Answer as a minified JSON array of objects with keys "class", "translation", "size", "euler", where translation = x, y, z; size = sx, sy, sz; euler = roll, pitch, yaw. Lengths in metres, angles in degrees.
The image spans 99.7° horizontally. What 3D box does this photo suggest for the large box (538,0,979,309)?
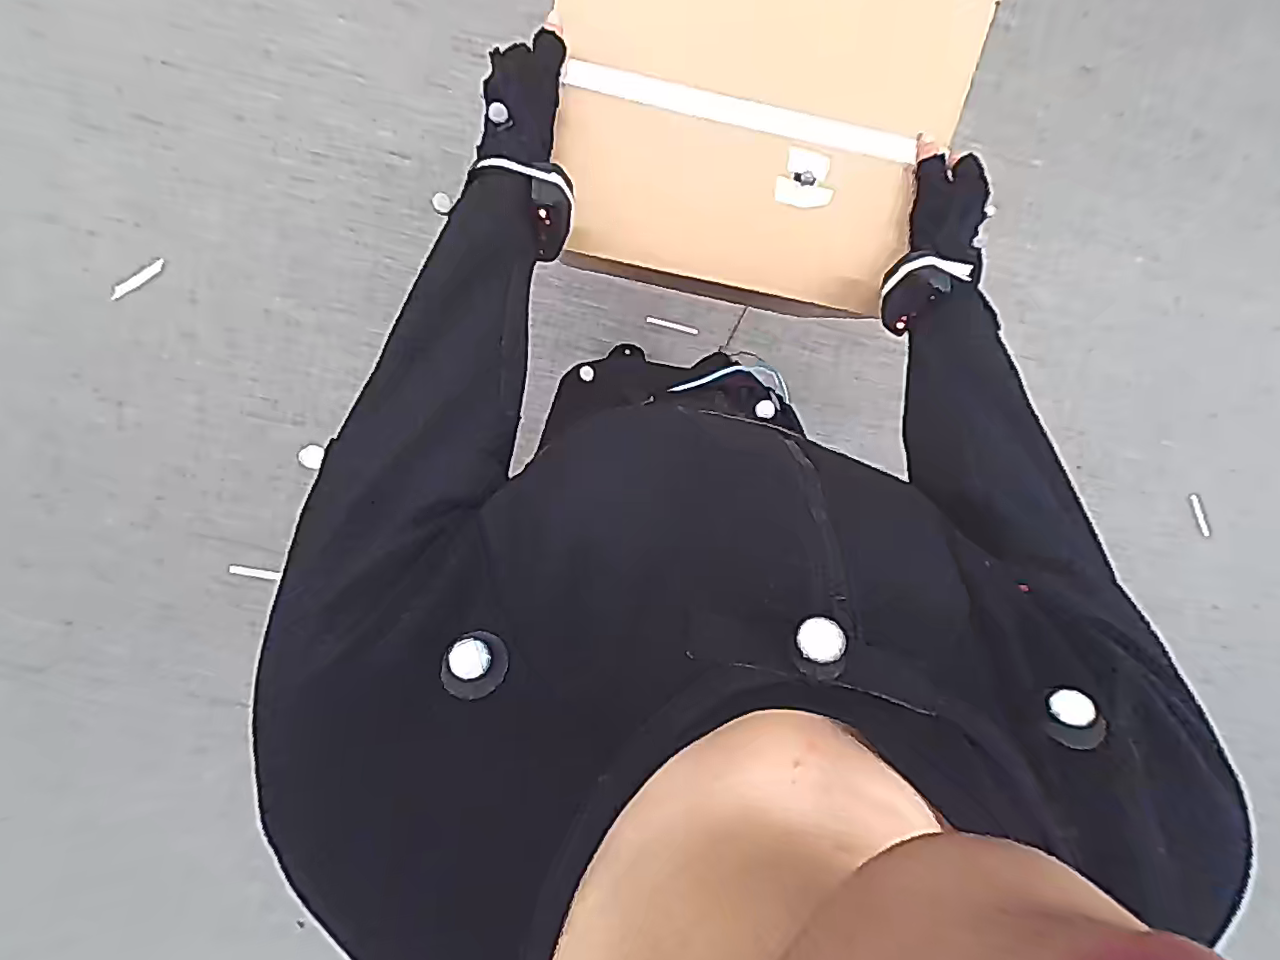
[{"class":"large box","translation":[0.104,-0.412,0.692],"size":[0.408,0.320,0.320],"euler":[10,108,-6]}]
